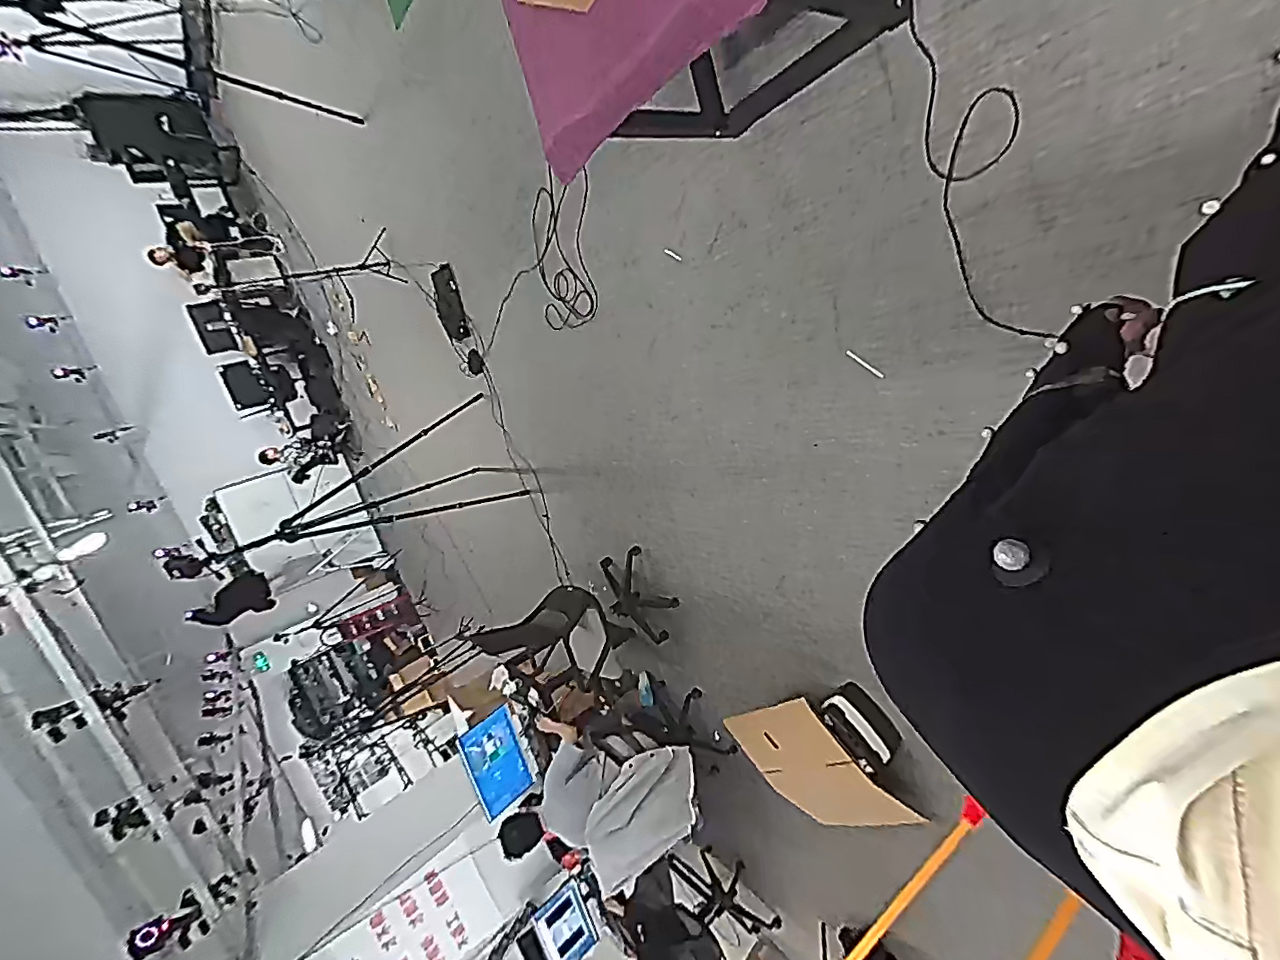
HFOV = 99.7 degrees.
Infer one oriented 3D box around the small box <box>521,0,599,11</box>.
[{"bbox_3d":[-0.137,-1.007,0.983,0.179,0.176,0.168,-4,107,55],"label":"small box"}]
